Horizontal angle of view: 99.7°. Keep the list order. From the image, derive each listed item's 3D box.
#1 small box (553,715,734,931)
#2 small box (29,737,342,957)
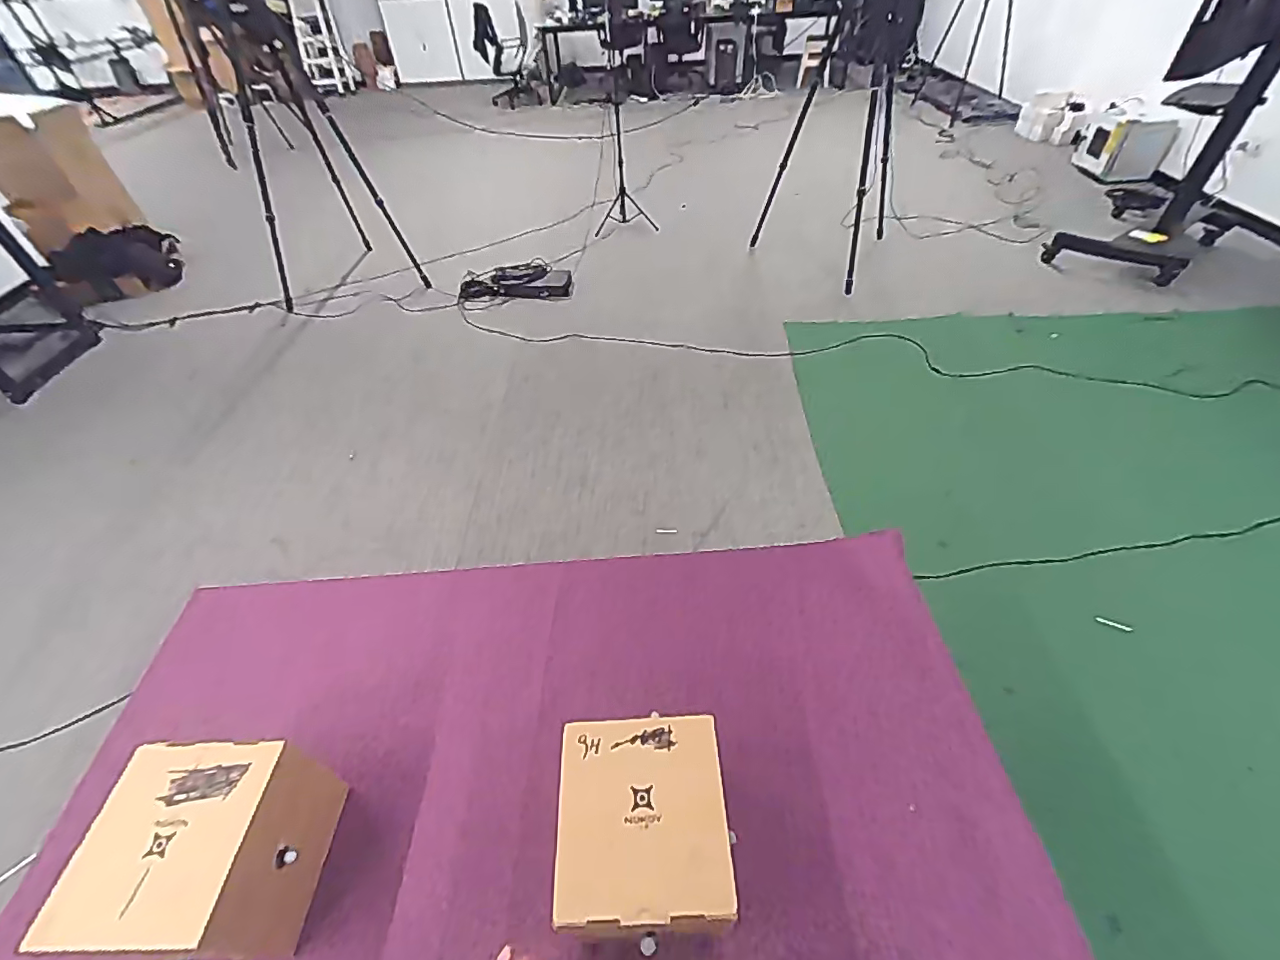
[{"bbox_3d":[0.005,0.377,0.591,0.168,0.176,0.179,-3,47,0],"label":"small box"},{"bbox_3d":[-0.461,0.402,0.594,0.168,0.176,0.179,-2,47,2],"label":"small box"}]
